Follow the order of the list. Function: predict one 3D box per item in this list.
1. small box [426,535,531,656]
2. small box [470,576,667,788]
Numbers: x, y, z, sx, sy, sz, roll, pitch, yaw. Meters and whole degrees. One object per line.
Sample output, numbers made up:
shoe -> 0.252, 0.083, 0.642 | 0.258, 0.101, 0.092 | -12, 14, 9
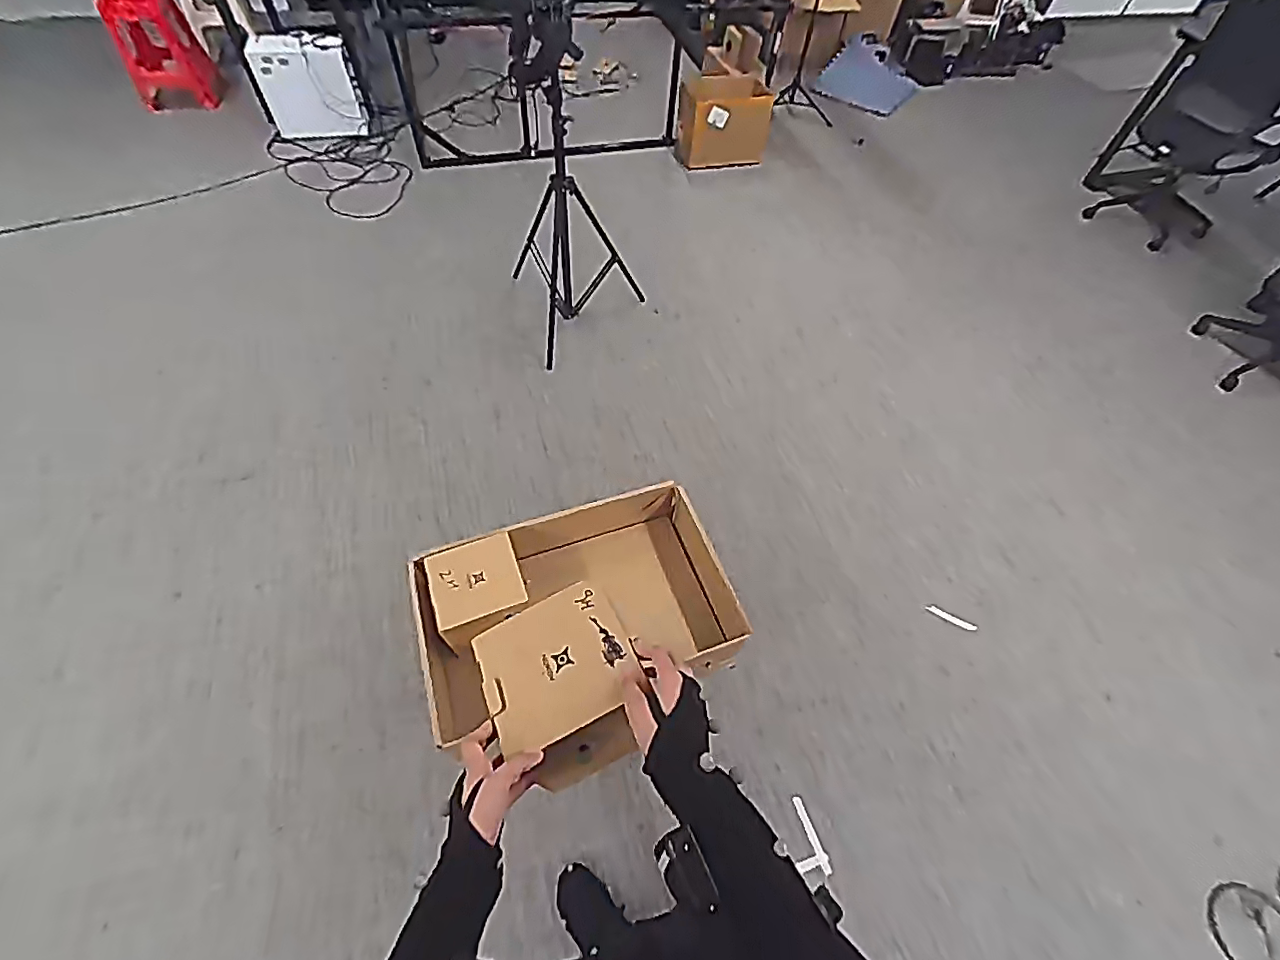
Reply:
small box -> -0.327, 0.245, 1.135 | 0.179, 0.176, 0.168 | -17, 58, -14
small box -> -0.085, 0.261, 0.686 | 0.179, 0.176, 0.168 | -27, 51, -7
